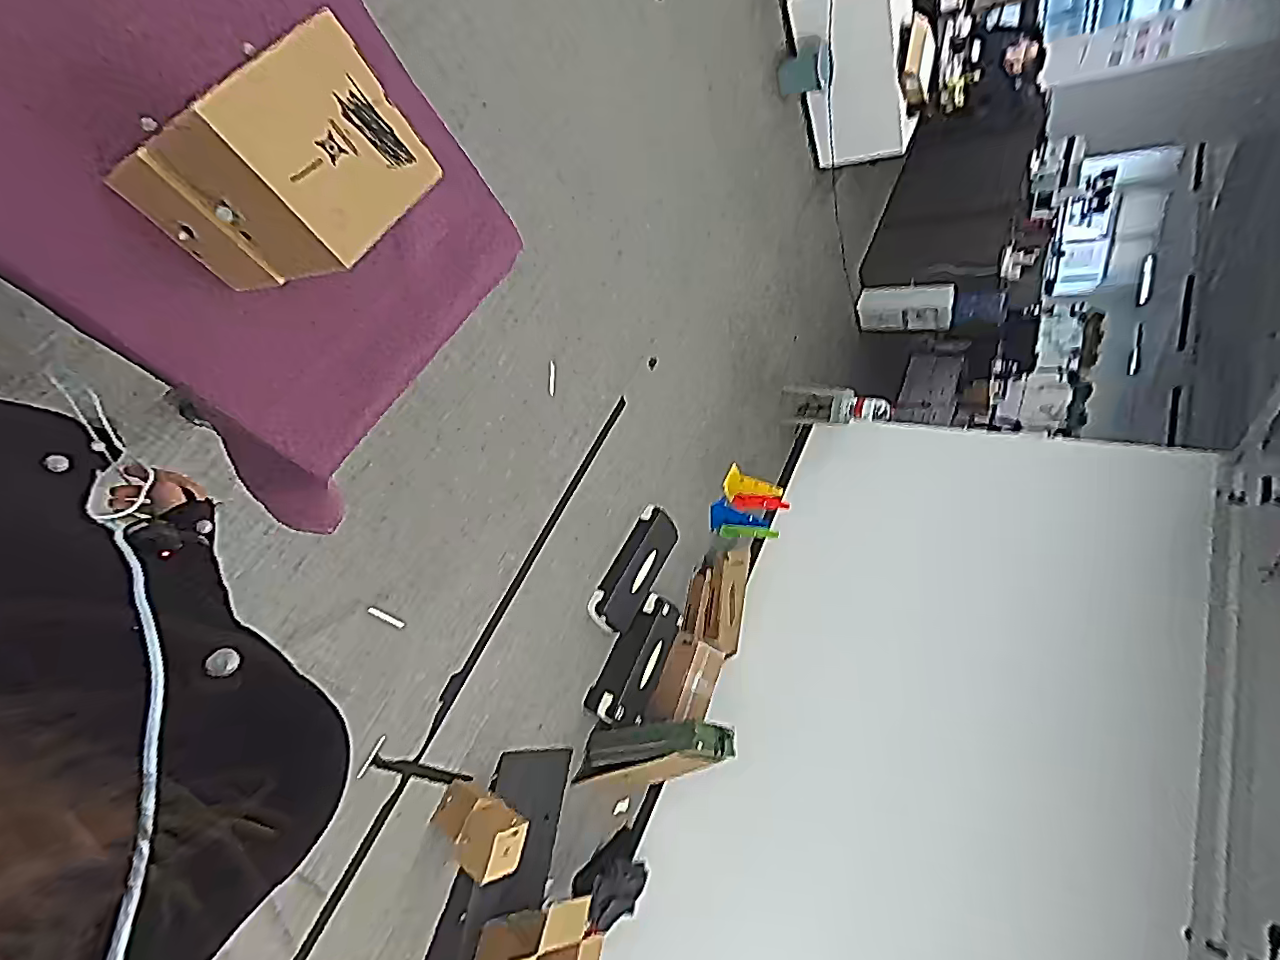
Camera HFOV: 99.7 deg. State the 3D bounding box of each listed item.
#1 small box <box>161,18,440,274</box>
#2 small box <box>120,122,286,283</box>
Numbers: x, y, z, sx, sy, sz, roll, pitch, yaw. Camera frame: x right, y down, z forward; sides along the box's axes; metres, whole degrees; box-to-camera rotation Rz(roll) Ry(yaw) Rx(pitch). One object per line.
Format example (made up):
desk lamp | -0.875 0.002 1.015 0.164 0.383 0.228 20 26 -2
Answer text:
small box | -0.370 -0.352 0.597 0.179 0.176 0.168 -61 140 -22
small box | -0.504 -0.371 0.689 0.179 0.176 0.168 -61 141 -22
